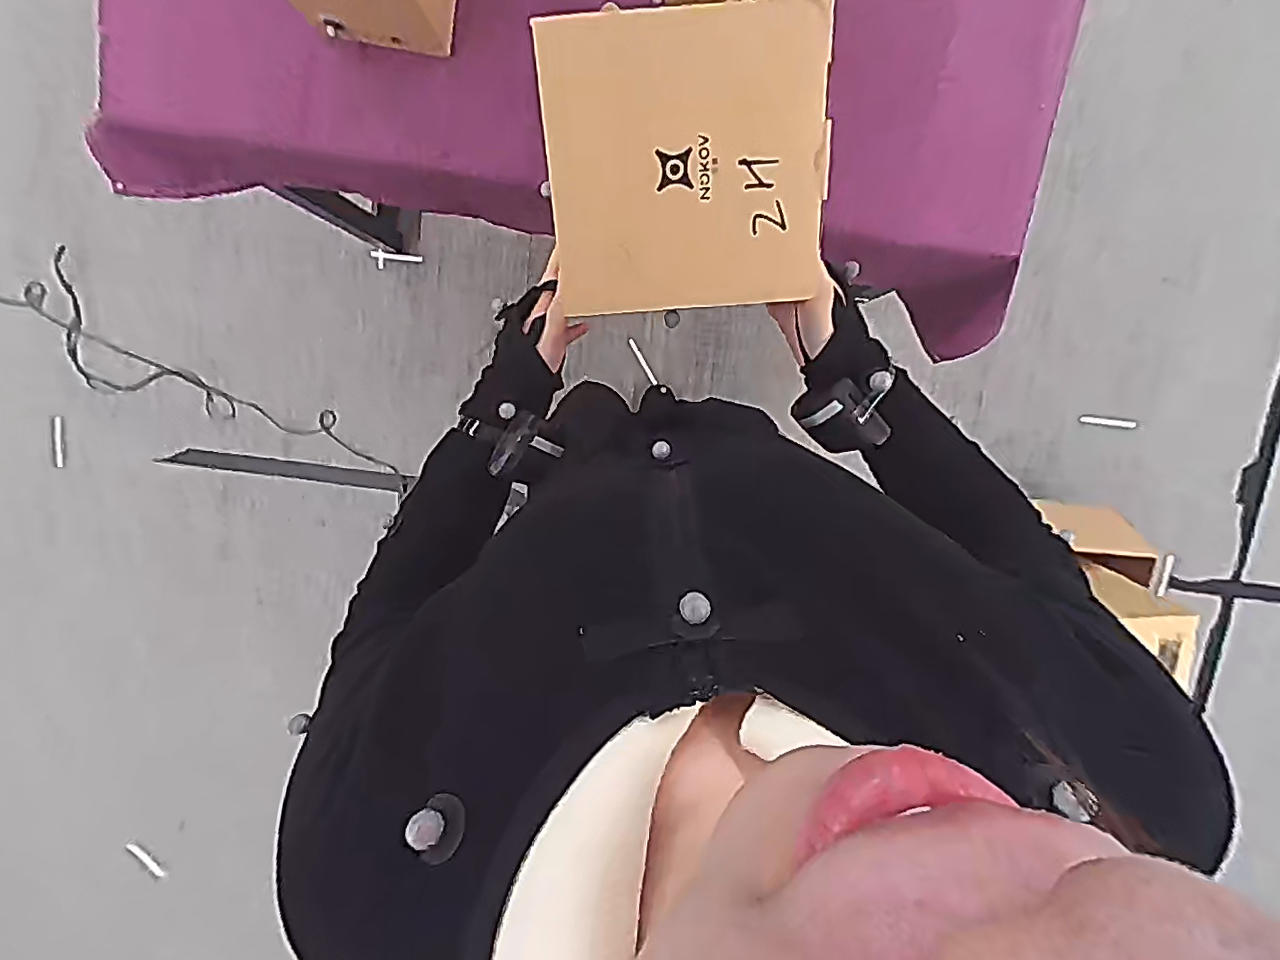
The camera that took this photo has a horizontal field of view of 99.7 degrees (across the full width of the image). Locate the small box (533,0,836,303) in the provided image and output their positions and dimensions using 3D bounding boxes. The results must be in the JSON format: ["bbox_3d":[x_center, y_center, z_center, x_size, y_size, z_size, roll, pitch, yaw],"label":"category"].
[{"bbox_3d":[0.027,-0.226,0.409,0.179,0.176,0.168,-4,112,-1],"label":"small box"}]

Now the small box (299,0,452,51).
[{"bbox_3d":[-0.306,-0.615,0.584,0.168,0.176,0.179,10,98,-2],"label":"small box"}]

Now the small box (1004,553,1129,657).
[{"bbox_3d":[0.993,0.284,1.272,0.168,0.176,0.179,-14,102,6],"label":"small box"}]
